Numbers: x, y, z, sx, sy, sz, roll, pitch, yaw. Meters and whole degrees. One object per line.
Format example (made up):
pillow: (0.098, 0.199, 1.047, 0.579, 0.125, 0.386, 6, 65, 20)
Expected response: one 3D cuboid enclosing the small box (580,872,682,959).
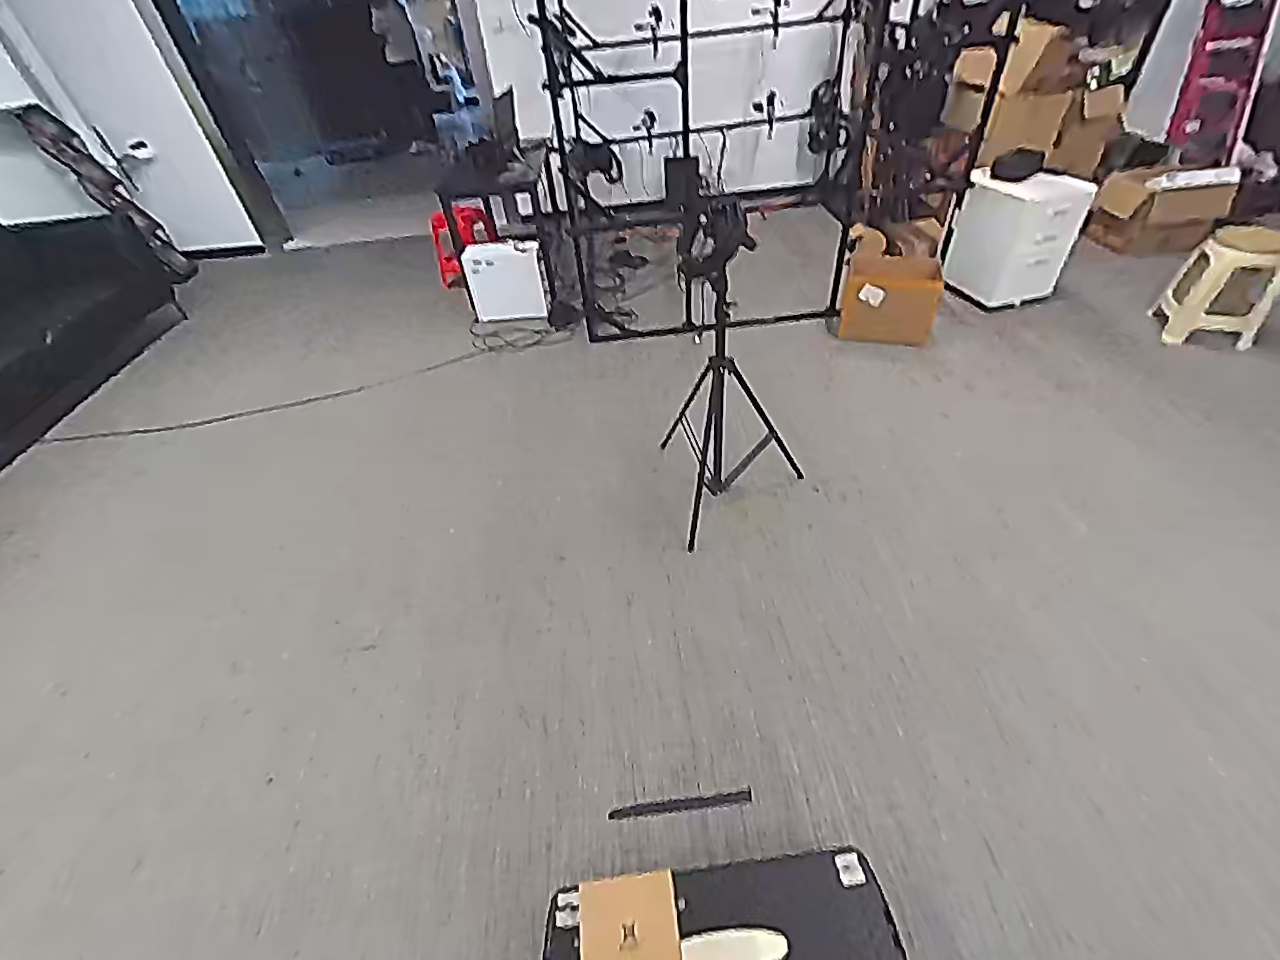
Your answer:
small box: (-0.013, 0.819, 0.943, 0.168, 0.176, 0.179, -7, 42, -2)
